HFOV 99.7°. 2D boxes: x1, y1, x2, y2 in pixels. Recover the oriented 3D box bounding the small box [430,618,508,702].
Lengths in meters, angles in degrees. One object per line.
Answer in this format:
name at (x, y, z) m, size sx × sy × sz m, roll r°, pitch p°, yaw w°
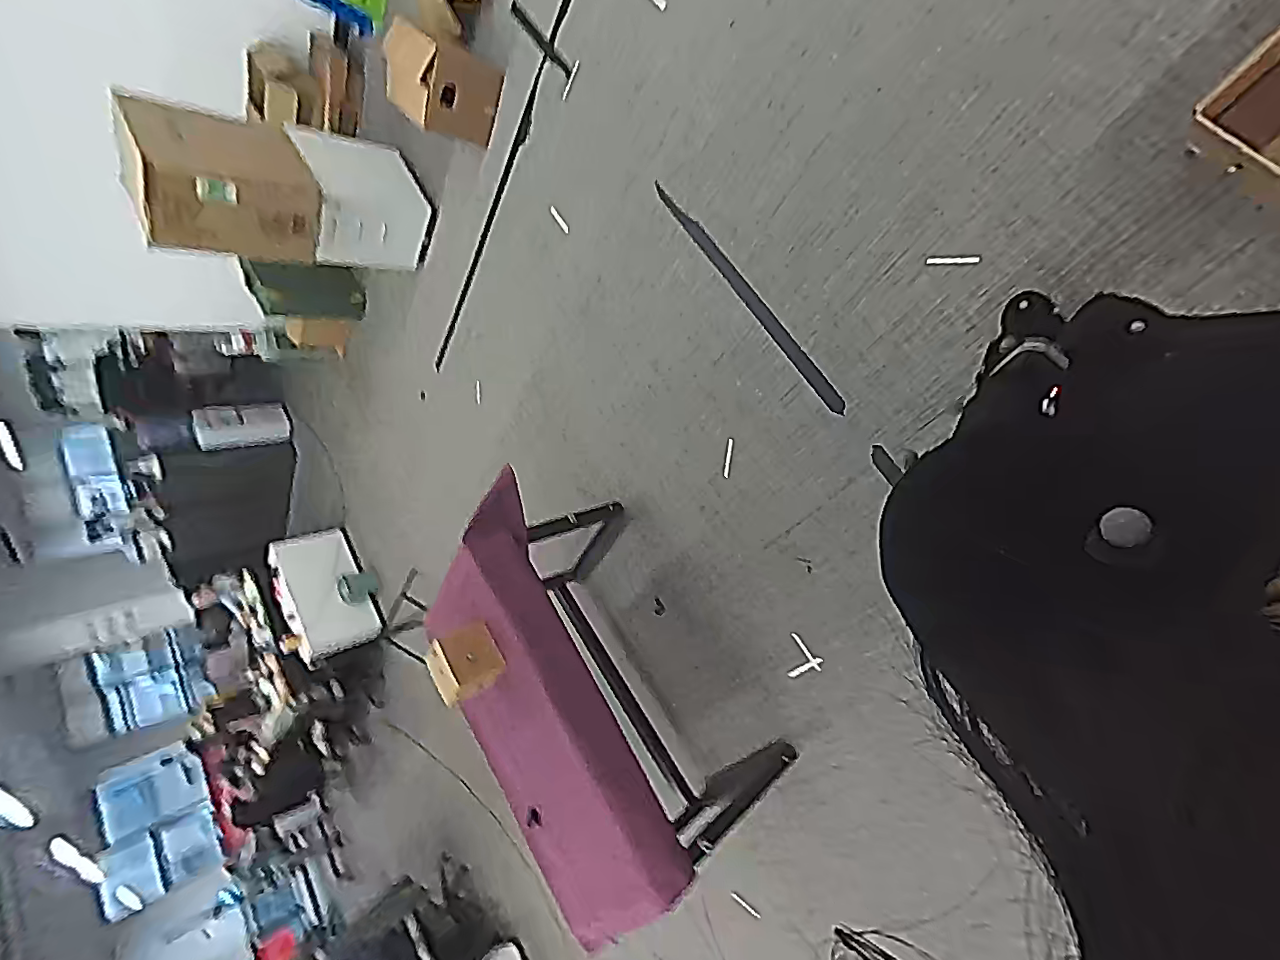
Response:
small box at (-0.556, 0.584, 1.765) m, size 0.179 × 0.176 × 0.168 m, roll 53°, pitch 132°, yaw 21°
